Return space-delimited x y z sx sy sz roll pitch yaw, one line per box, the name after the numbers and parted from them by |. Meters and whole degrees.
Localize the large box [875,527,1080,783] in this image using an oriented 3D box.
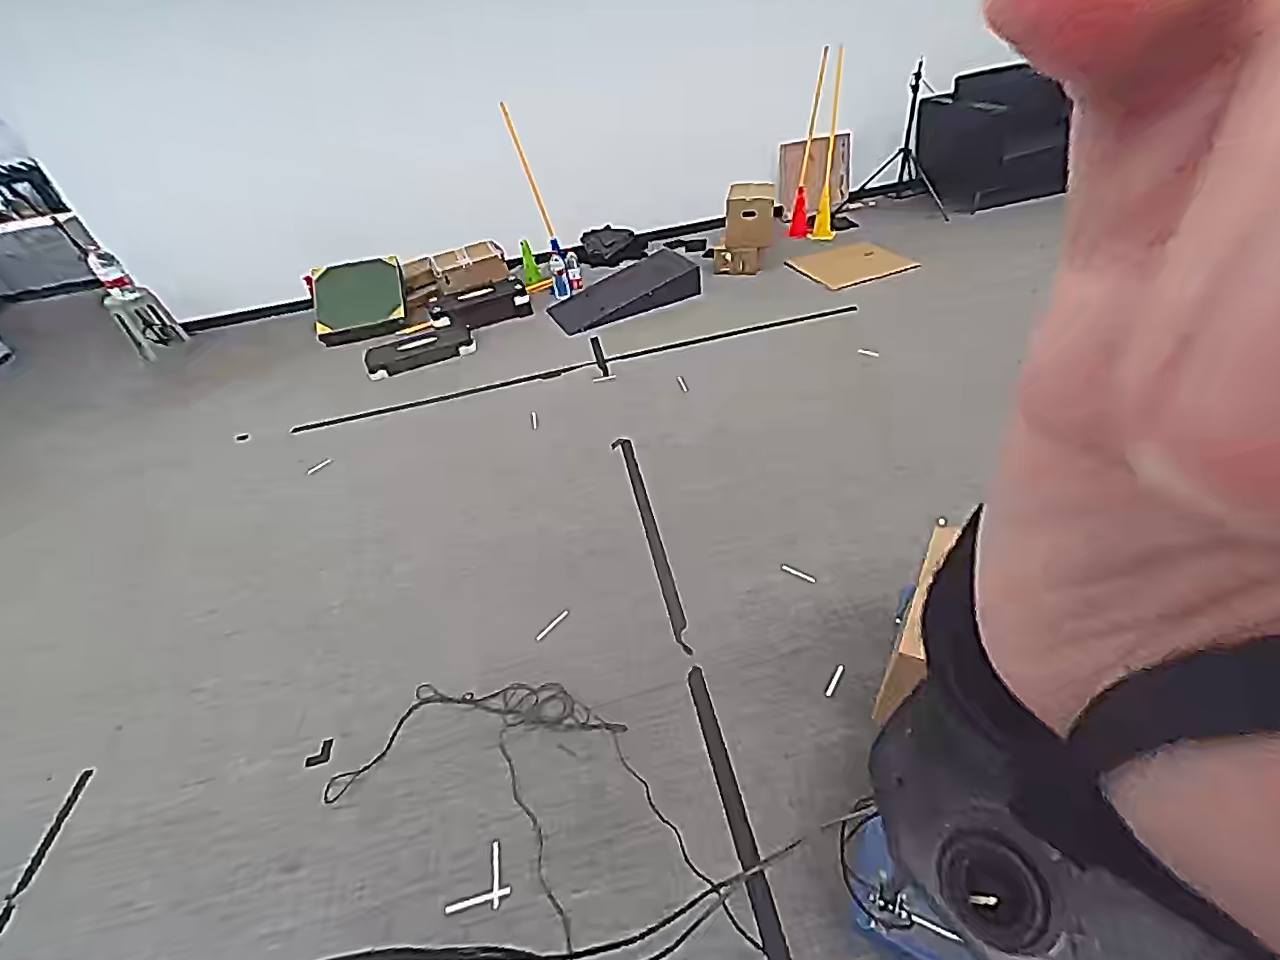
0.766 0.386 1.248 0.320 0.320 0.408 18 47 26 | large box
